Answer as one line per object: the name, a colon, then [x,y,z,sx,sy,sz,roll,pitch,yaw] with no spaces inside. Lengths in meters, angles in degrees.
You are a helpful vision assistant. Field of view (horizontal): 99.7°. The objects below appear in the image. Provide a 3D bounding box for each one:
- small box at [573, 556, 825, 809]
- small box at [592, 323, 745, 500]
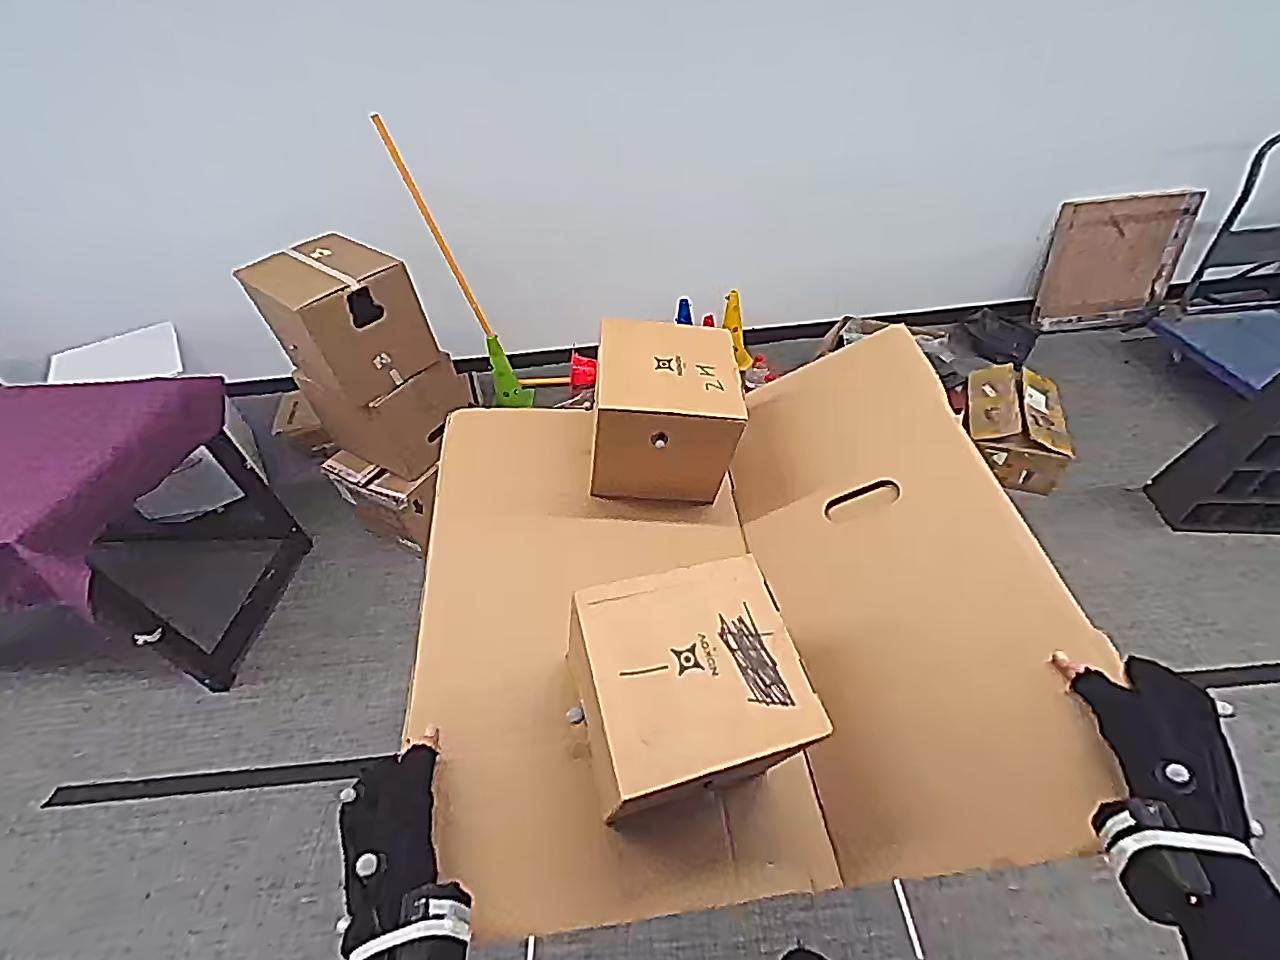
small box: [0.037,0.195,0.520,0.179,0.176,0.168,-9,55,-15]
small box: [0.028,-0.087,0.731,0.179,0.176,0.168,4,53,-6]
